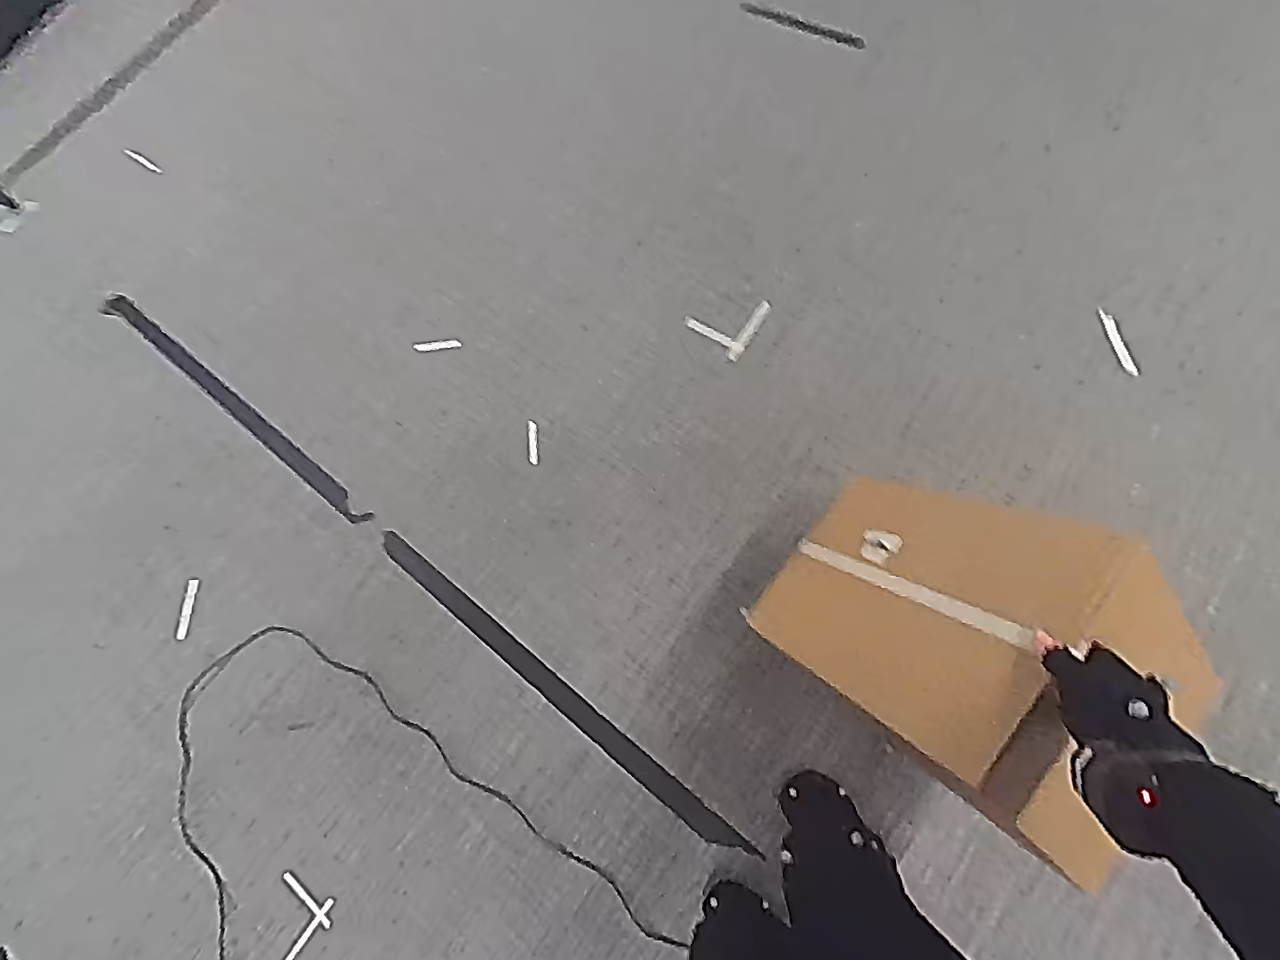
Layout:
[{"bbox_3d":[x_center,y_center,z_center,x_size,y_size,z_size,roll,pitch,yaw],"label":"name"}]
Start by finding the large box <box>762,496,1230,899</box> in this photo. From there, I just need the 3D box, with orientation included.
[{"bbox_3d":[0.467,0.260,0.773,0.320,0.408,0.320,44,82,-21],"label":"large box"}]
